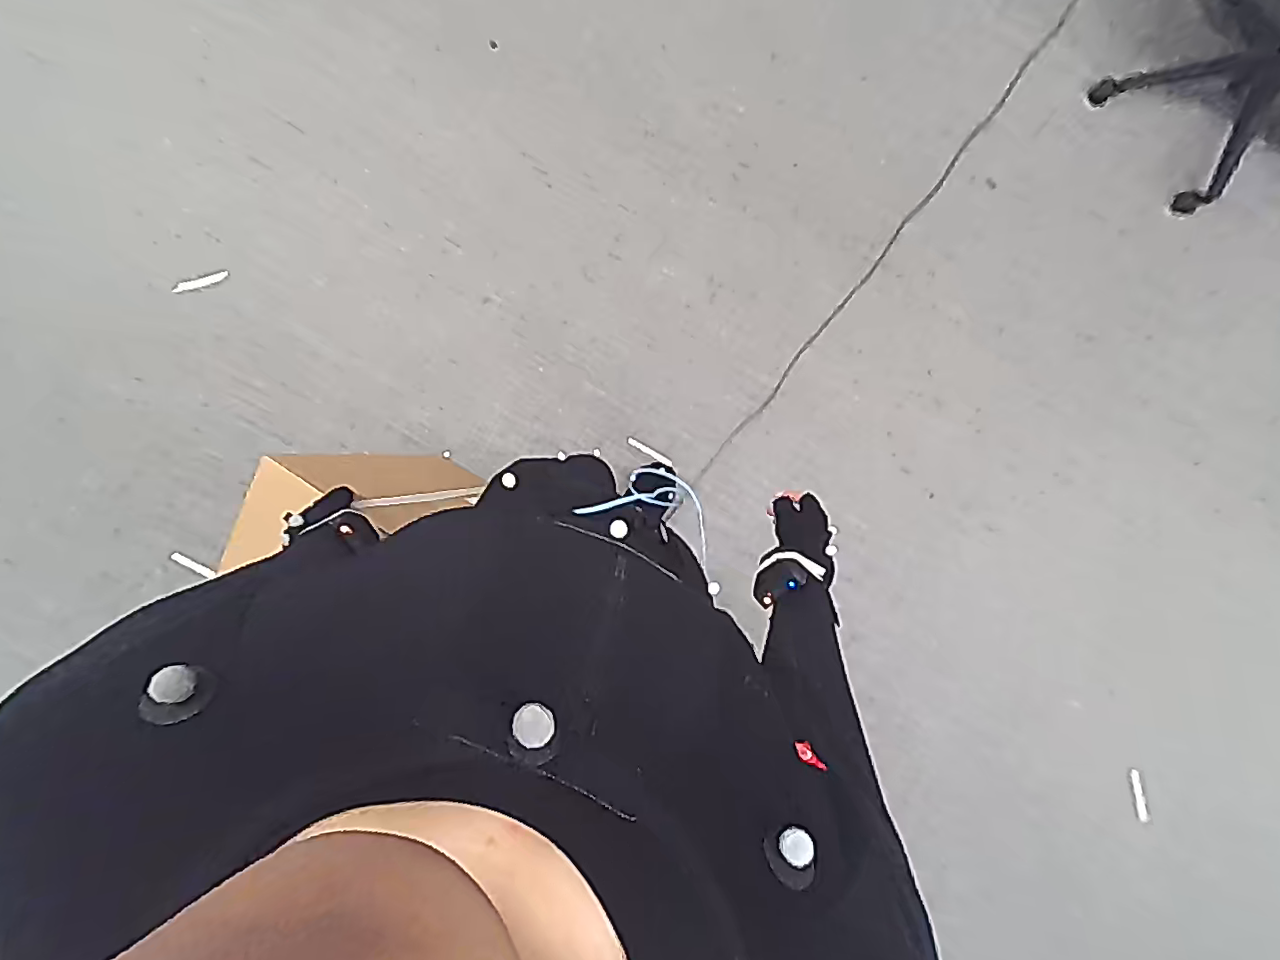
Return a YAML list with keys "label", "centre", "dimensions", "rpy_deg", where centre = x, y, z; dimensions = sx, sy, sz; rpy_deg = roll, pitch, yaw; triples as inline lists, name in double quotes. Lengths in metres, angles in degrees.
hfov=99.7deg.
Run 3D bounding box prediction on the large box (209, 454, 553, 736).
- label: "large box"
  centre: [-0.420, 0.160, 0.961]
  dimensions: [0.320, 0.408, 0.320]
  rpy_deg: [31, 99, 12]
